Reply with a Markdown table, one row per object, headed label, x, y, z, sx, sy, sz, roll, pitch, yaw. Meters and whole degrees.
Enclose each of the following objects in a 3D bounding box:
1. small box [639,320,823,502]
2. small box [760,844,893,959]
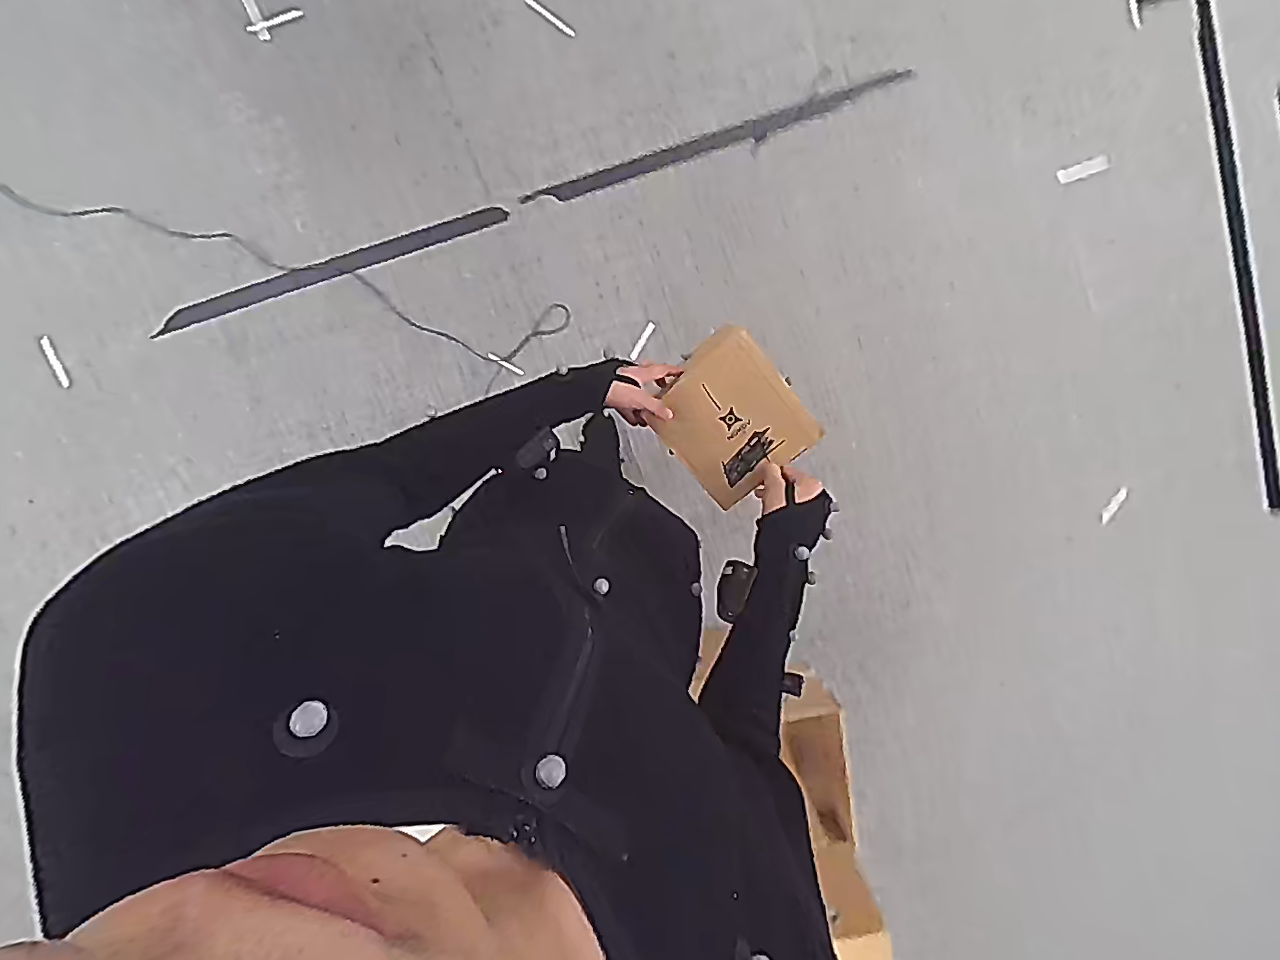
| label | x | y | z | sx | sy | sz | roll | pitch | yaw |
| --- | --- | --- | --- | --- | --- | --- | --- | --- | --- |
| small box | 0.119 | -0.106 | 0.753 | 0.168 | 0.176 | 0.179 | -41 | 102 | 14 |
| small box | 0.312 | 0.772 | 0.928 | 0.179 | 0.176 | 0.168 | -10 | 100 | 0 |
